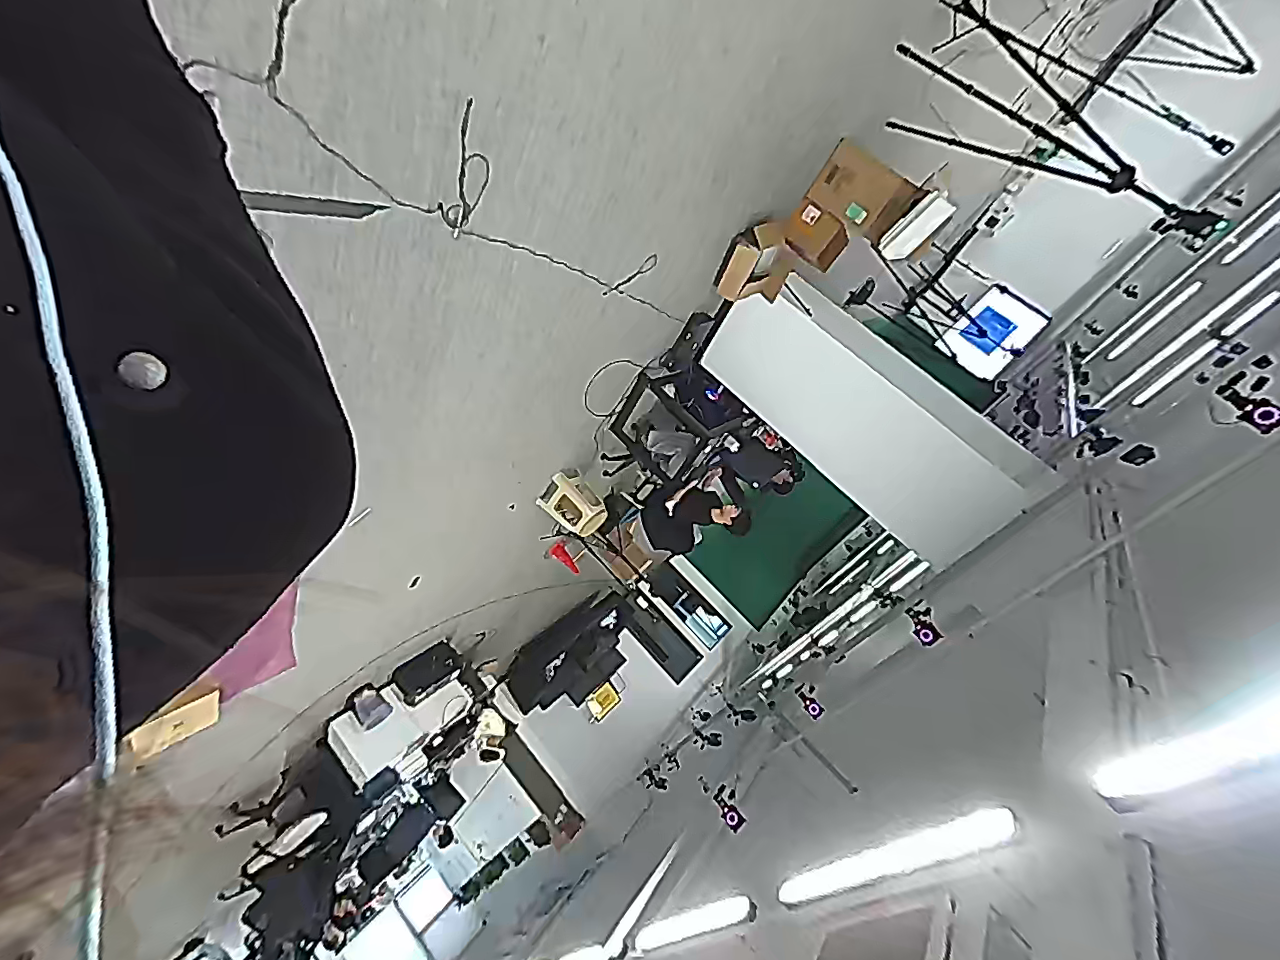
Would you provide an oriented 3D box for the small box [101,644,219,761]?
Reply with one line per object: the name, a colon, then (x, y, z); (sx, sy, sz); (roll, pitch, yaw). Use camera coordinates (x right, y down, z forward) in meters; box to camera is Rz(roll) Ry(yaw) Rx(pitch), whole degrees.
small box: (-1.148, 0.522, 1.296); (0.168, 0.176, 0.179); (-25, 155, -52)
